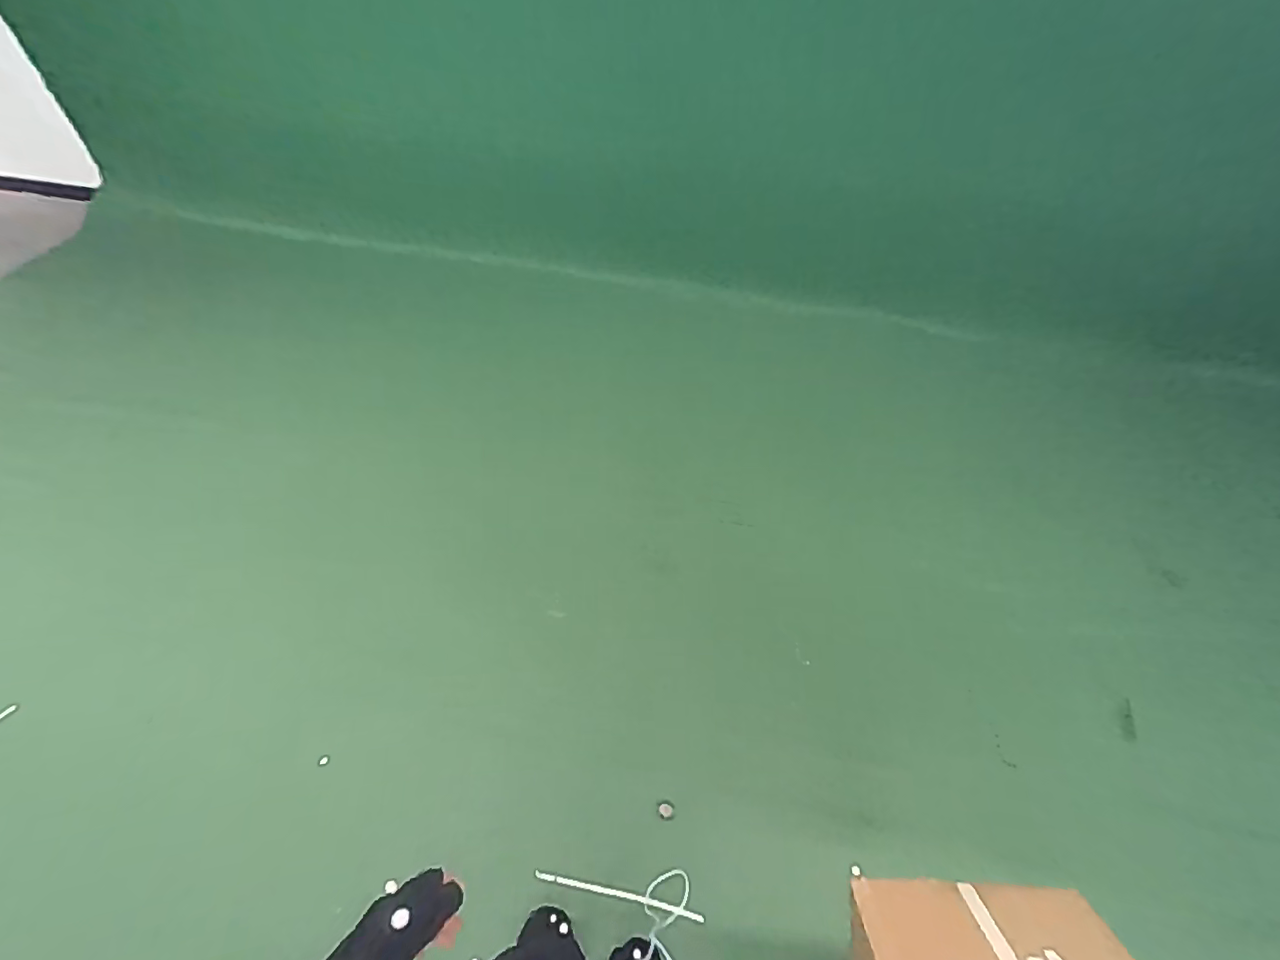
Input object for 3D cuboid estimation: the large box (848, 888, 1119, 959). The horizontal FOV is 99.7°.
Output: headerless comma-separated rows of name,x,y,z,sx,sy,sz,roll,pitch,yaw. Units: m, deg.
large box,0.445,0.763,0.596,0.320,0.408,0.320,-1,93,7
